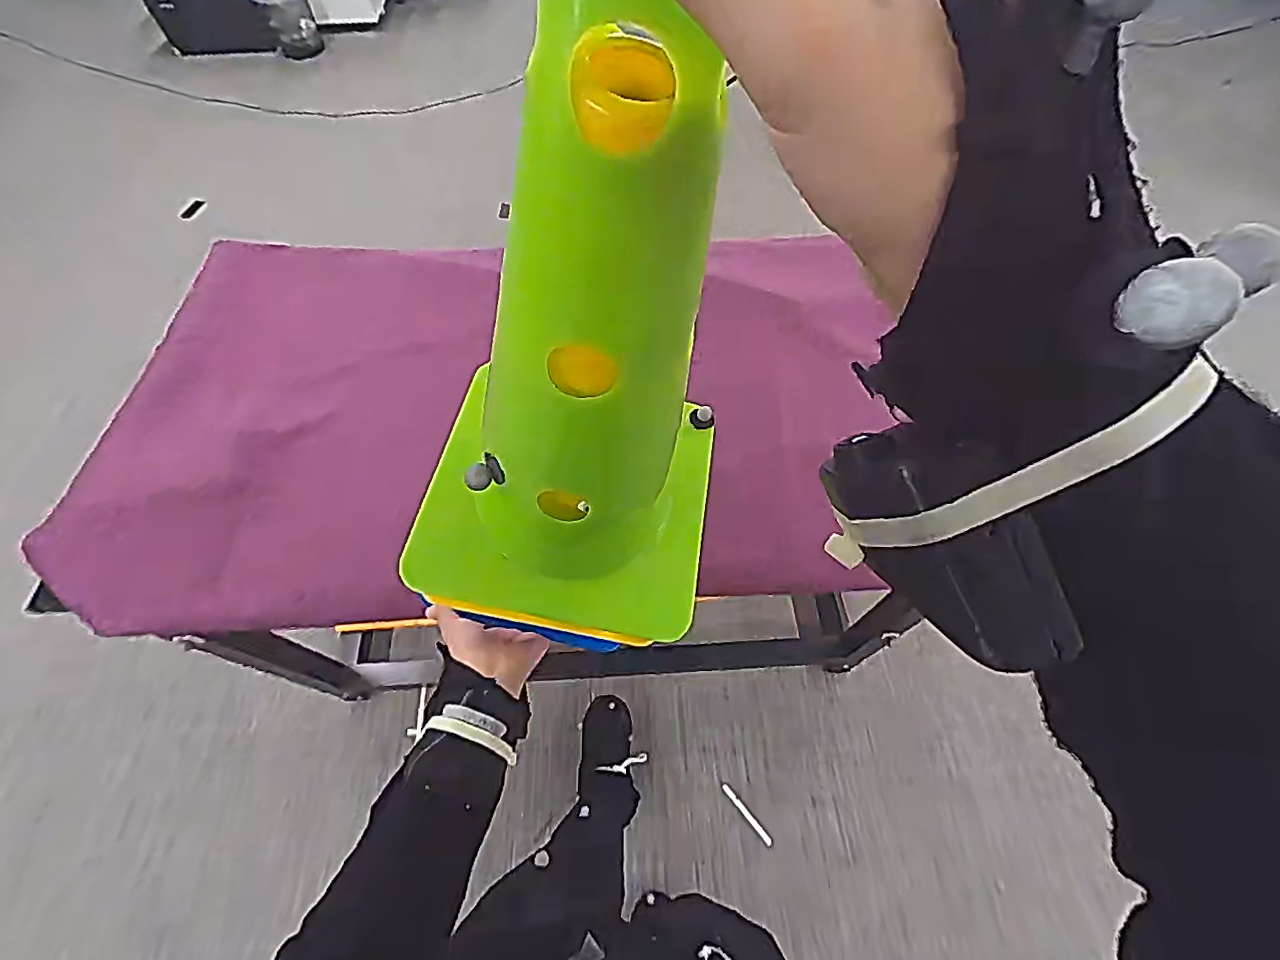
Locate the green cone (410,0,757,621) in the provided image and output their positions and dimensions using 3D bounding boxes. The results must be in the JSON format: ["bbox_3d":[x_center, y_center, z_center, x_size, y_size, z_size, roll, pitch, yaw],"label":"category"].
[{"bbox_3d":[-0.017,-0.086,0.249,0.200,0.368,0.202,12,61,-4],"label":"green cone"}]
